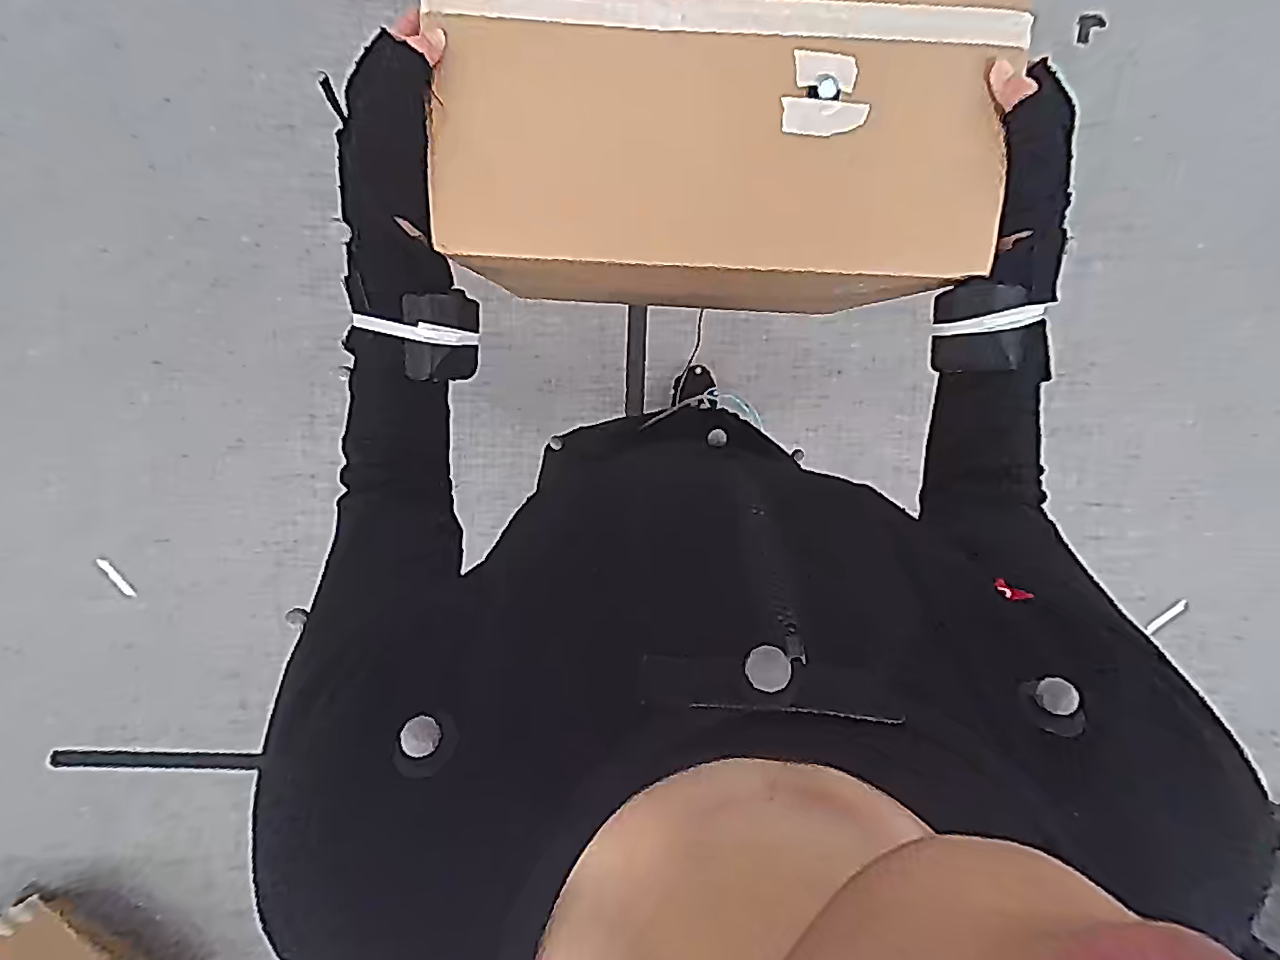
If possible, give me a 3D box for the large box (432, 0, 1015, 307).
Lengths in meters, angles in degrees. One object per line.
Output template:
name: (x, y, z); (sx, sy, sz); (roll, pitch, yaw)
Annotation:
large box: (0.051, -0.343, 0.515); (0.408, 0.320, 0.320); (2, 104, -3)
